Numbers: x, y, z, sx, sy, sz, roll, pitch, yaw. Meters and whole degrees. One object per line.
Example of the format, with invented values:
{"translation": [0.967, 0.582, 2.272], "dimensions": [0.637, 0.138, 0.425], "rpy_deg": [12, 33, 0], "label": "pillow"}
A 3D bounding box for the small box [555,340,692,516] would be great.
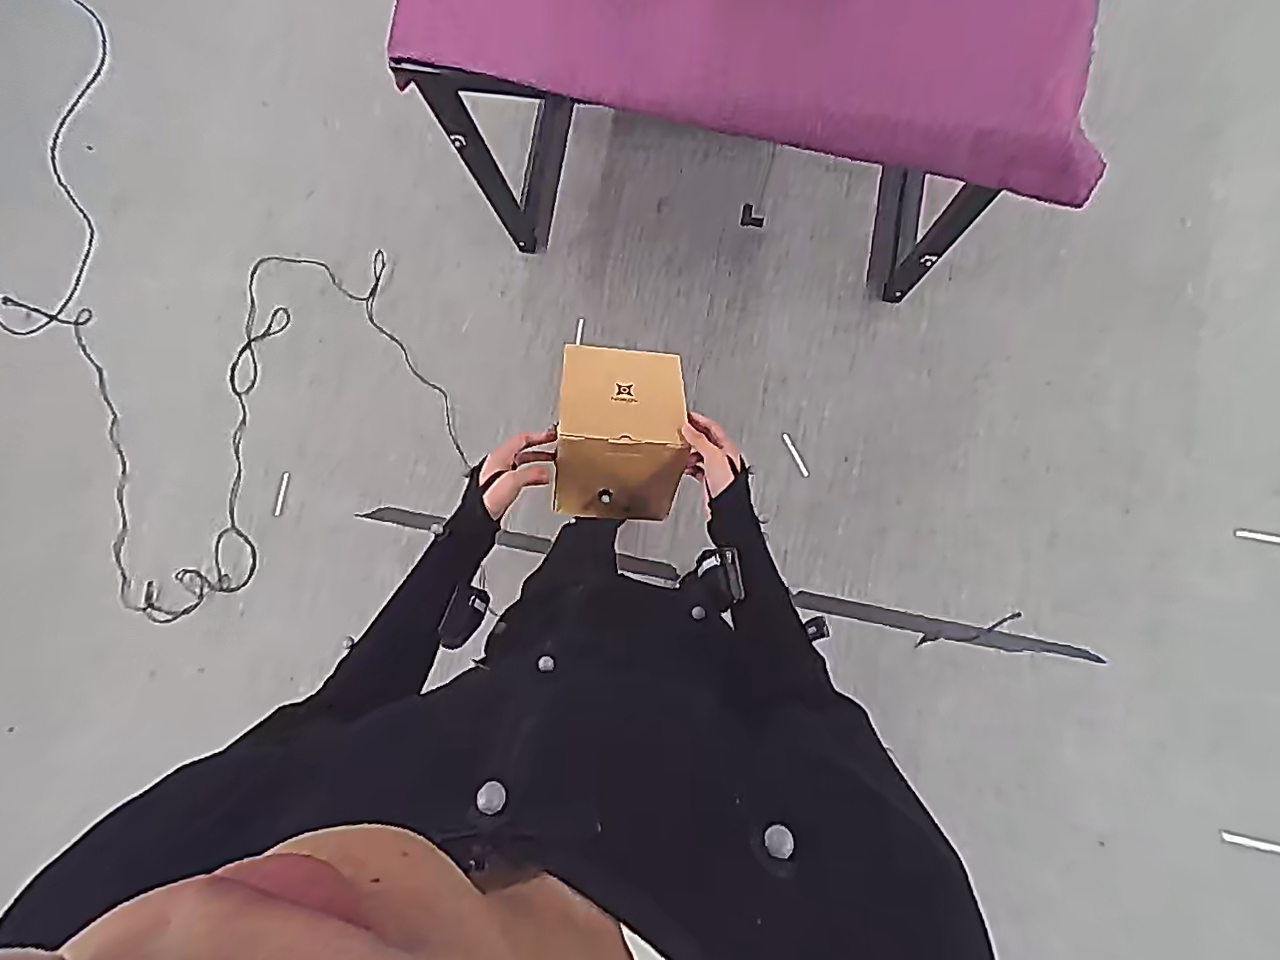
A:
{"translation": [-0.032, -0.070, 0.765], "dimensions": [0.168, 0.176, 0.179], "rpy_deg": [3, 52, -8], "label": "small box"}
